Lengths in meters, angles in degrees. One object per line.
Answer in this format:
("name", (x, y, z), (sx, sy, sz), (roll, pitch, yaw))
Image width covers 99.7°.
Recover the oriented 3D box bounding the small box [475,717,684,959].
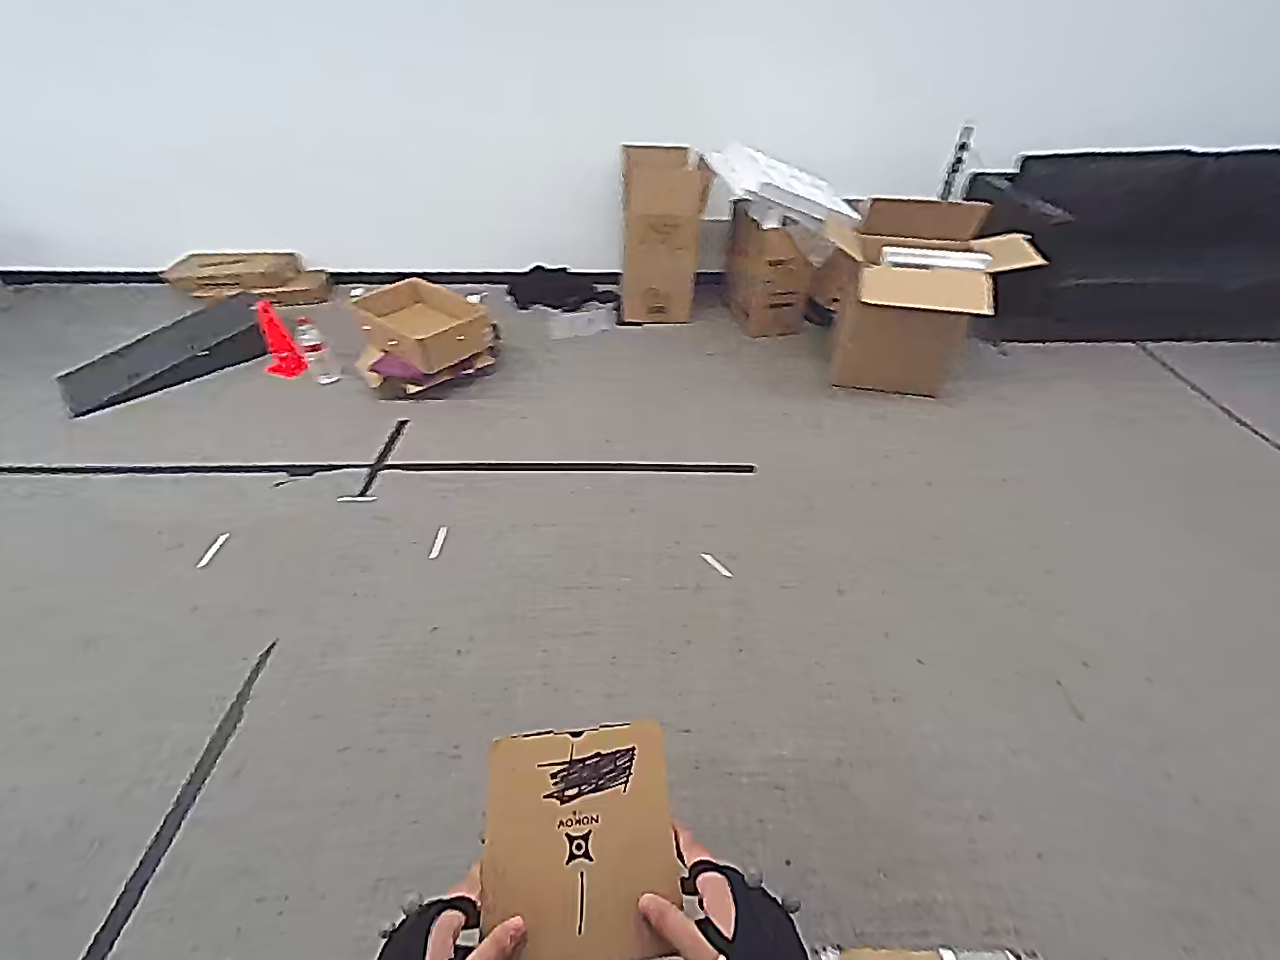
("small box", (-0.055, 0.357, 0.533), (0.168, 0.176, 0.179), (-6, 51, -4))
